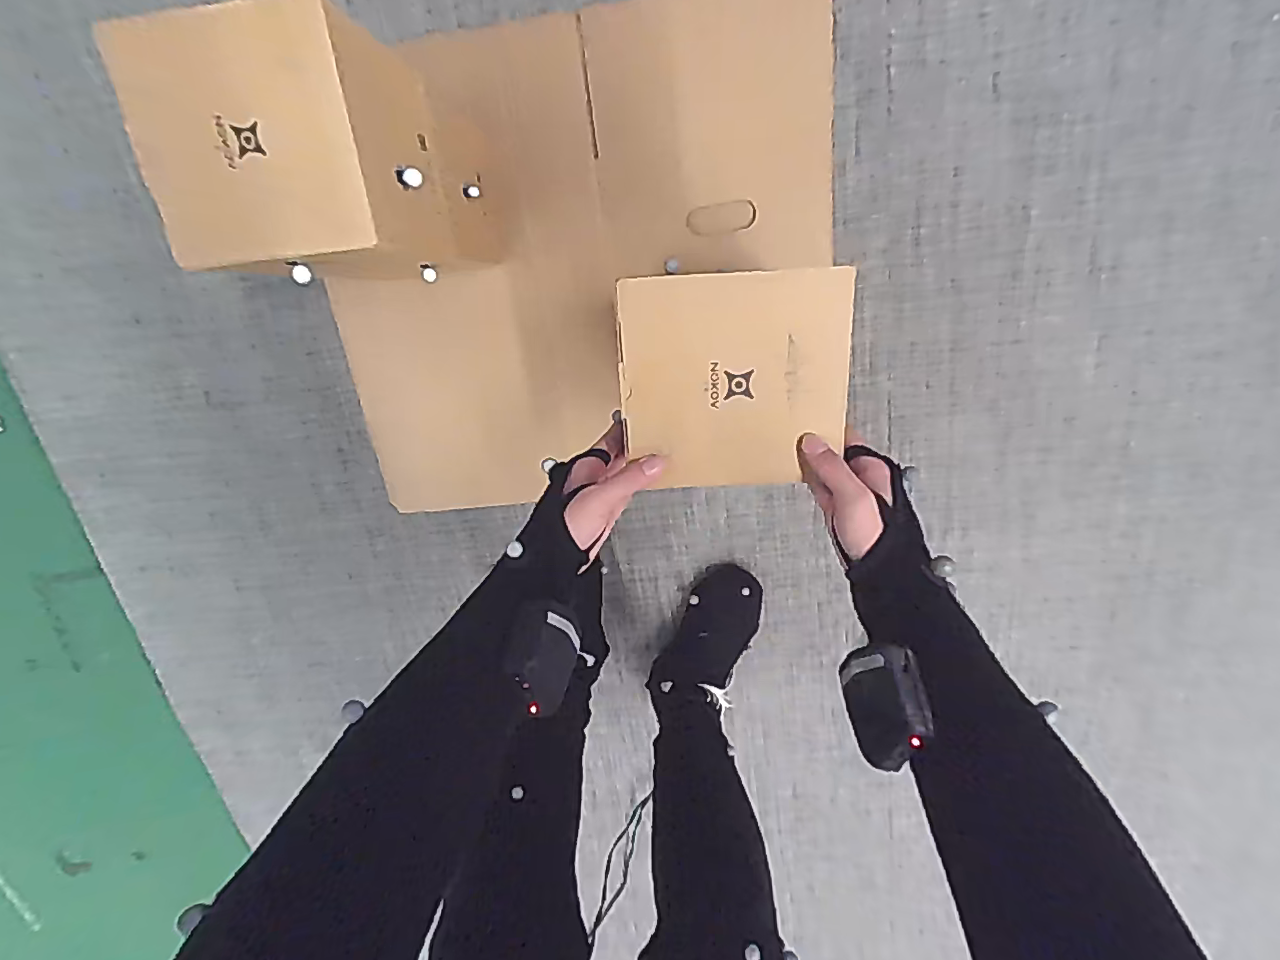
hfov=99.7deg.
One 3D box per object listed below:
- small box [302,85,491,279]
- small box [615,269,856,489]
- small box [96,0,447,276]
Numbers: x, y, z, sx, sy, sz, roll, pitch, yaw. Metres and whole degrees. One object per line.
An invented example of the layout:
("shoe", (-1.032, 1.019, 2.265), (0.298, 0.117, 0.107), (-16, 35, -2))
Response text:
("small box", (-0.286, -0.331, 0.632), (0.179, 0.176, 0.168), (-4, 109, 5))
("small box", (0.074, -0.097, 0.491), (0.179, 0.176, 0.168), (-2, 109, 2))
("small box", (-0.290, -0.277, 0.479), (0.179, 0.176, 0.168), (-4, 110, 6))
